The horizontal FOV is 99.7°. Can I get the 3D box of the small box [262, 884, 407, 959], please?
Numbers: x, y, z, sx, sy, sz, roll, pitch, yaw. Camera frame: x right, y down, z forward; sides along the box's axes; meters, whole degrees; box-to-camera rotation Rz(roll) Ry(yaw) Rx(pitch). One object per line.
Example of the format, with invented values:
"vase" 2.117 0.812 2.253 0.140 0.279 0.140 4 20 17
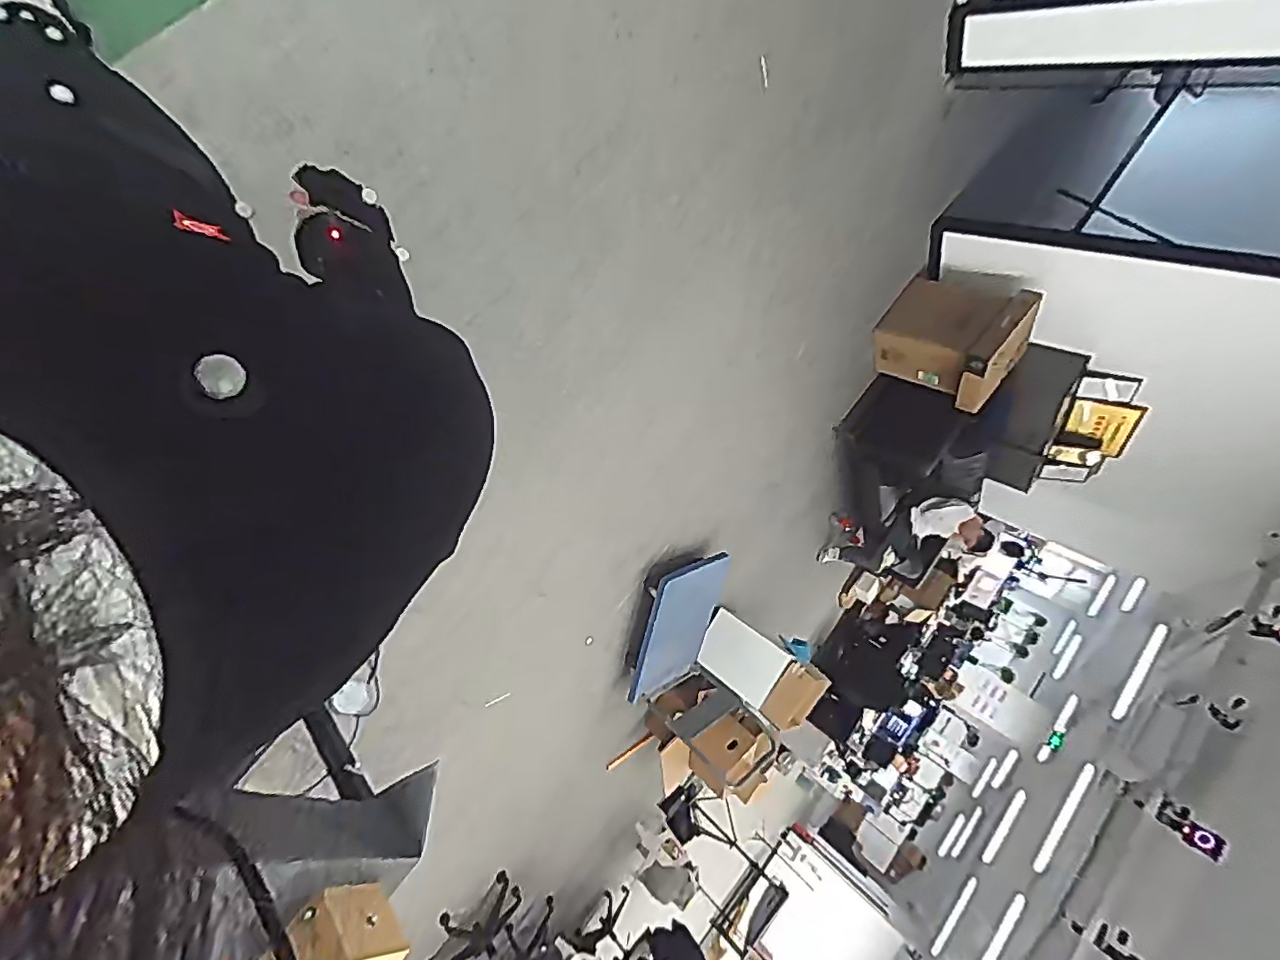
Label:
"small box" -0.631 0.977 1.115 0.168 0.176 0.179 -50 143 -12
